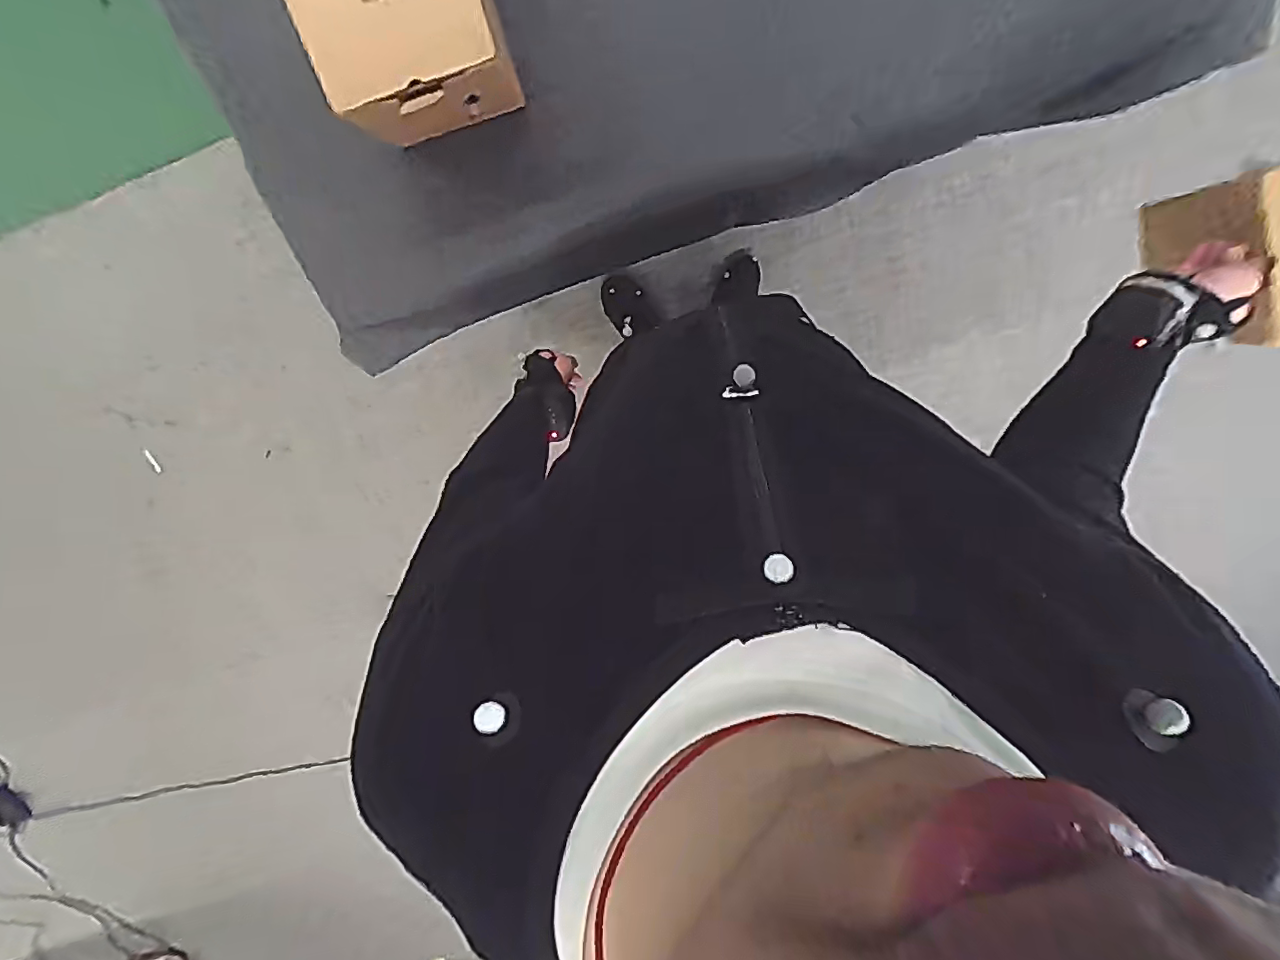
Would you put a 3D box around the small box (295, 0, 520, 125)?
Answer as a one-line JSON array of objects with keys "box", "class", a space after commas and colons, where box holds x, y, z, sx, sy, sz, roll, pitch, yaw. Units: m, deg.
[{"box": [-0.233, -0.483, 0.541, 0.168, 0.176, 0.179, -16, 112, 2], "class": "small box"}]
